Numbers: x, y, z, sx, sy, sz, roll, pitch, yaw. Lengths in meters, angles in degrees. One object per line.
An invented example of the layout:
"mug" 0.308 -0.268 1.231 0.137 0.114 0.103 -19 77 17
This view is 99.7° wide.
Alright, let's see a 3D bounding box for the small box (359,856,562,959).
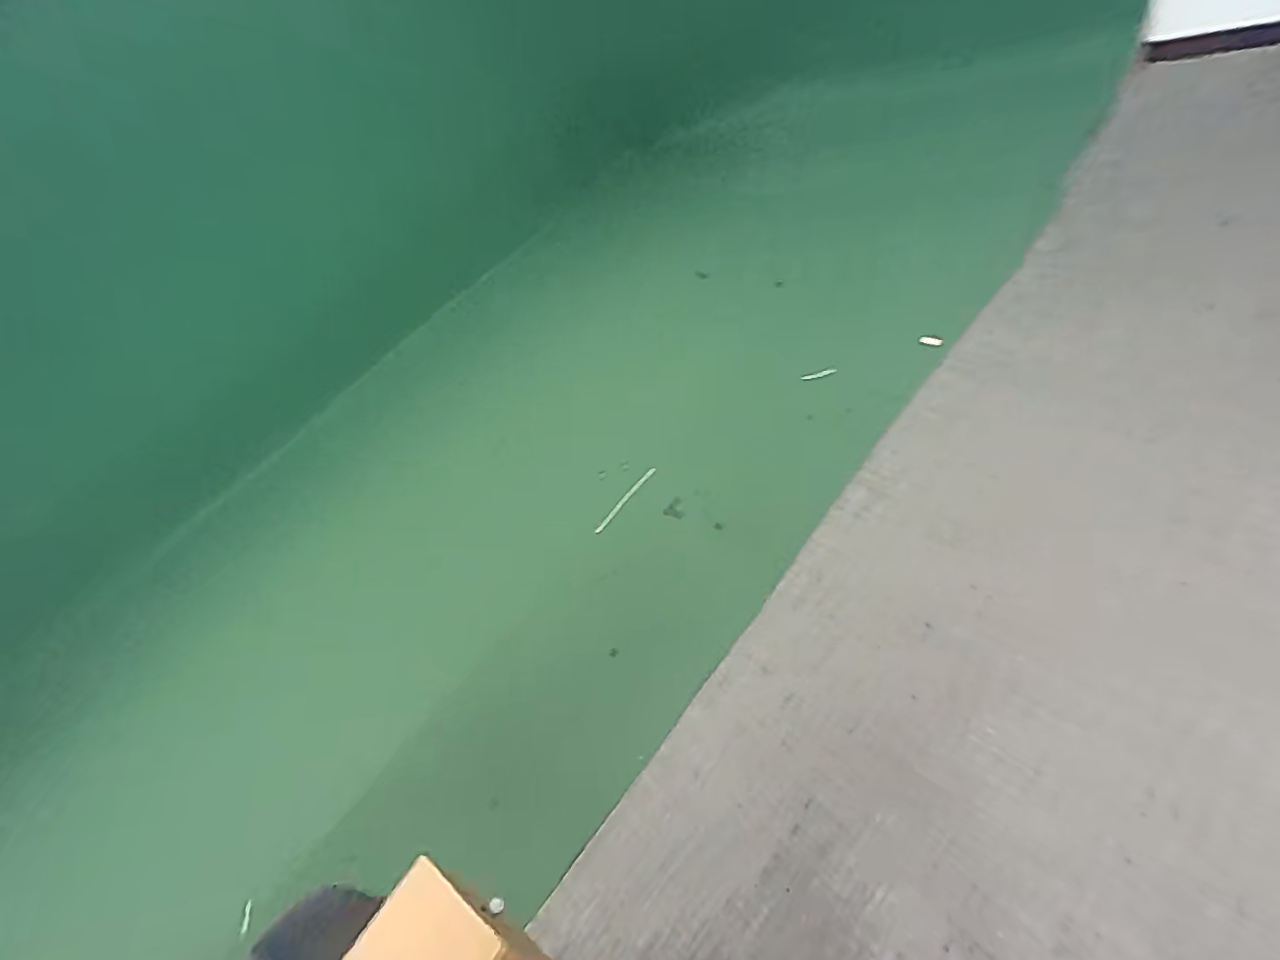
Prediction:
"small box" -0.163 0.510 0.504 0.179 0.176 0.168 -6 33 48
